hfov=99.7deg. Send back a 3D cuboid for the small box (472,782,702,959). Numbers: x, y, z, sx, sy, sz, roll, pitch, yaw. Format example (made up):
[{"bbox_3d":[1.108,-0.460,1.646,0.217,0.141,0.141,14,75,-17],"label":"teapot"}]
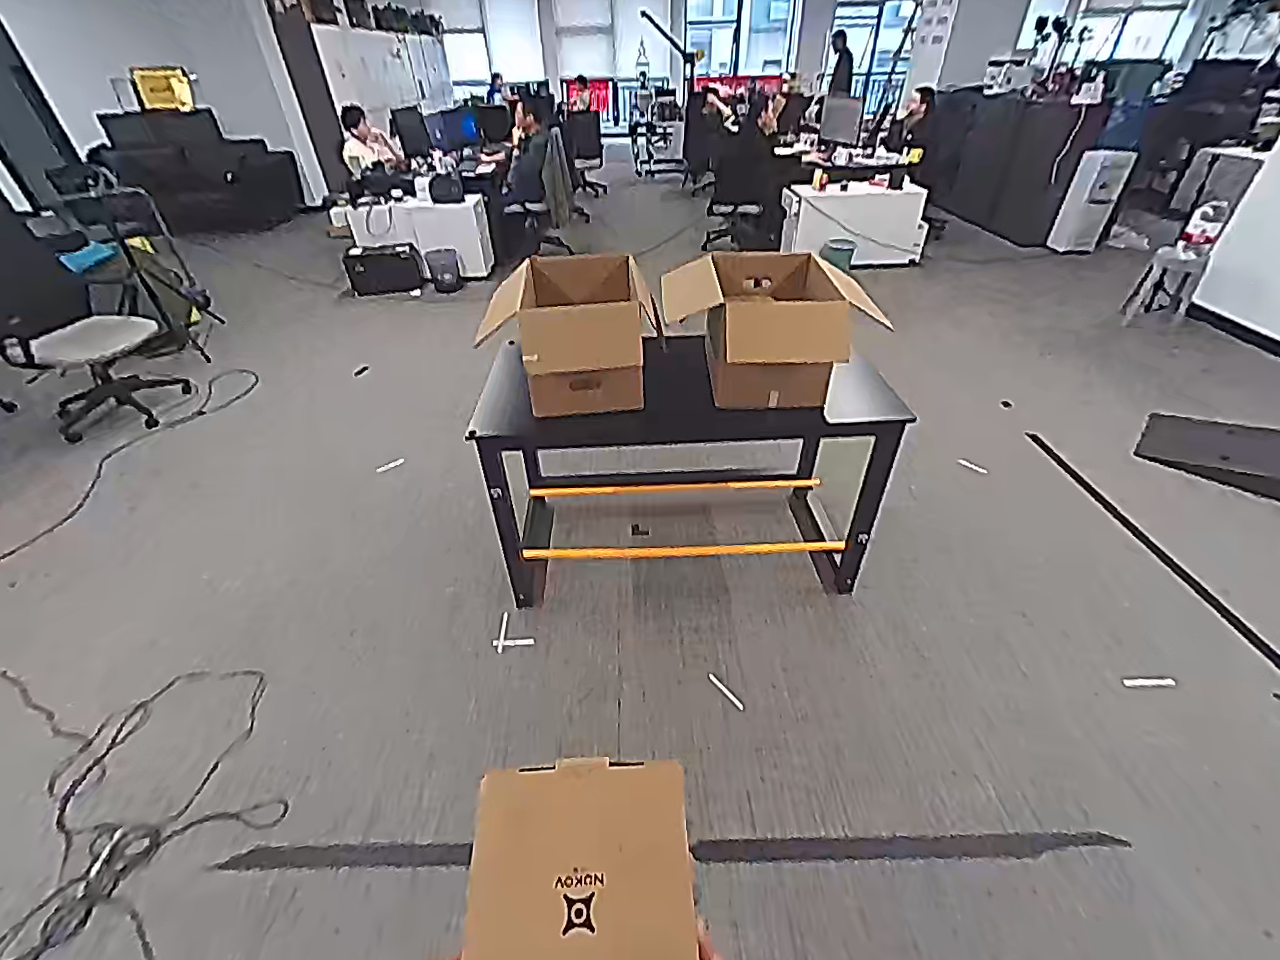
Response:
[{"bbox_3d":[-0.040,0.375,0.458,0.168,0.176,0.179,-3,50,-2],"label":"small box"}]
